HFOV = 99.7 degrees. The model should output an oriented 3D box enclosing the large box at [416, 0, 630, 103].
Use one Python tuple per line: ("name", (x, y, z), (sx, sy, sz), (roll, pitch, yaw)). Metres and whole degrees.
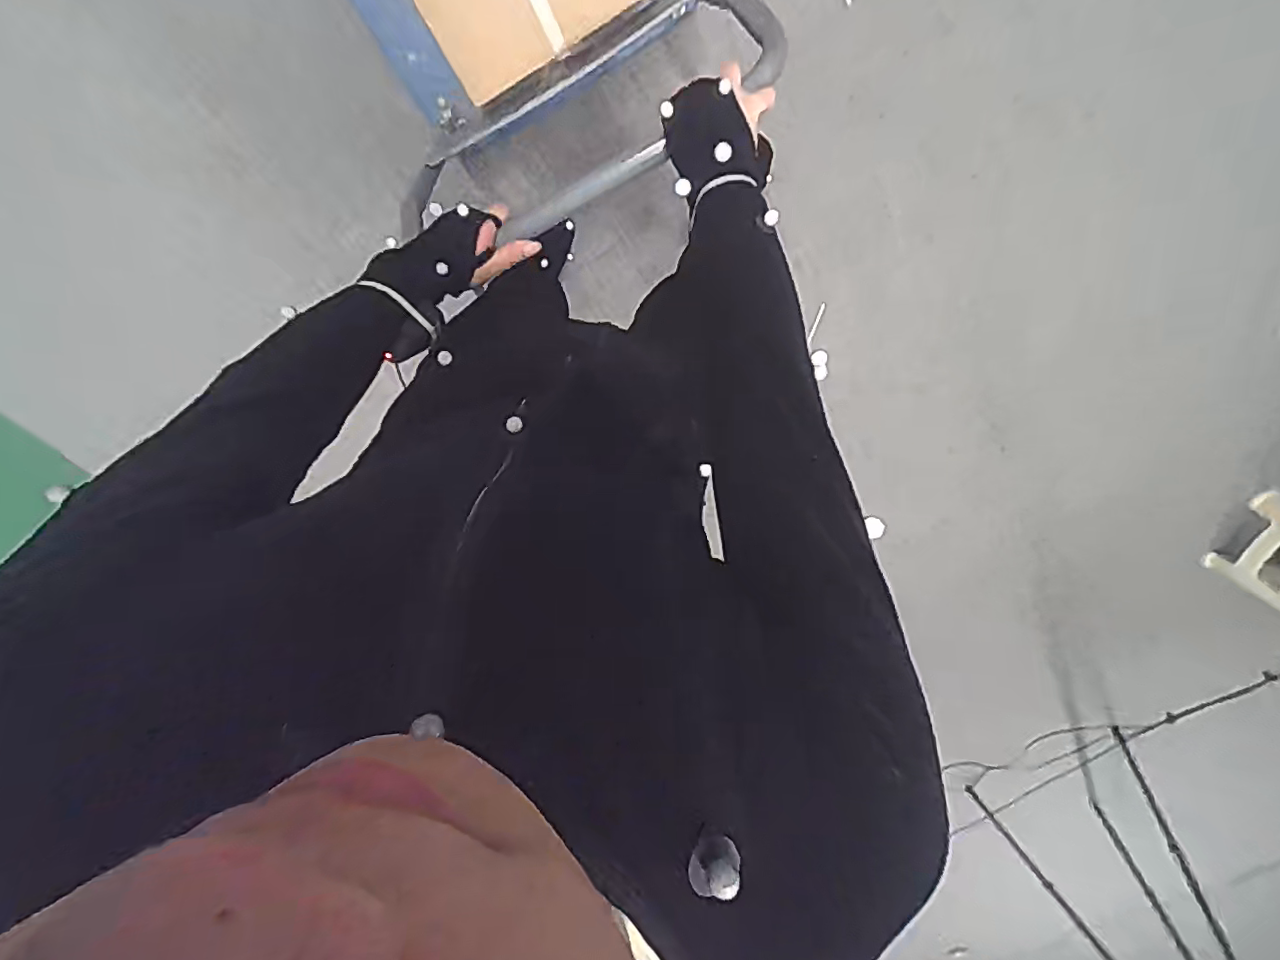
("large box", (-0.220, -0.873, 0.804), (0.320, 0.320, 0.408), (-25, 129, 13))
